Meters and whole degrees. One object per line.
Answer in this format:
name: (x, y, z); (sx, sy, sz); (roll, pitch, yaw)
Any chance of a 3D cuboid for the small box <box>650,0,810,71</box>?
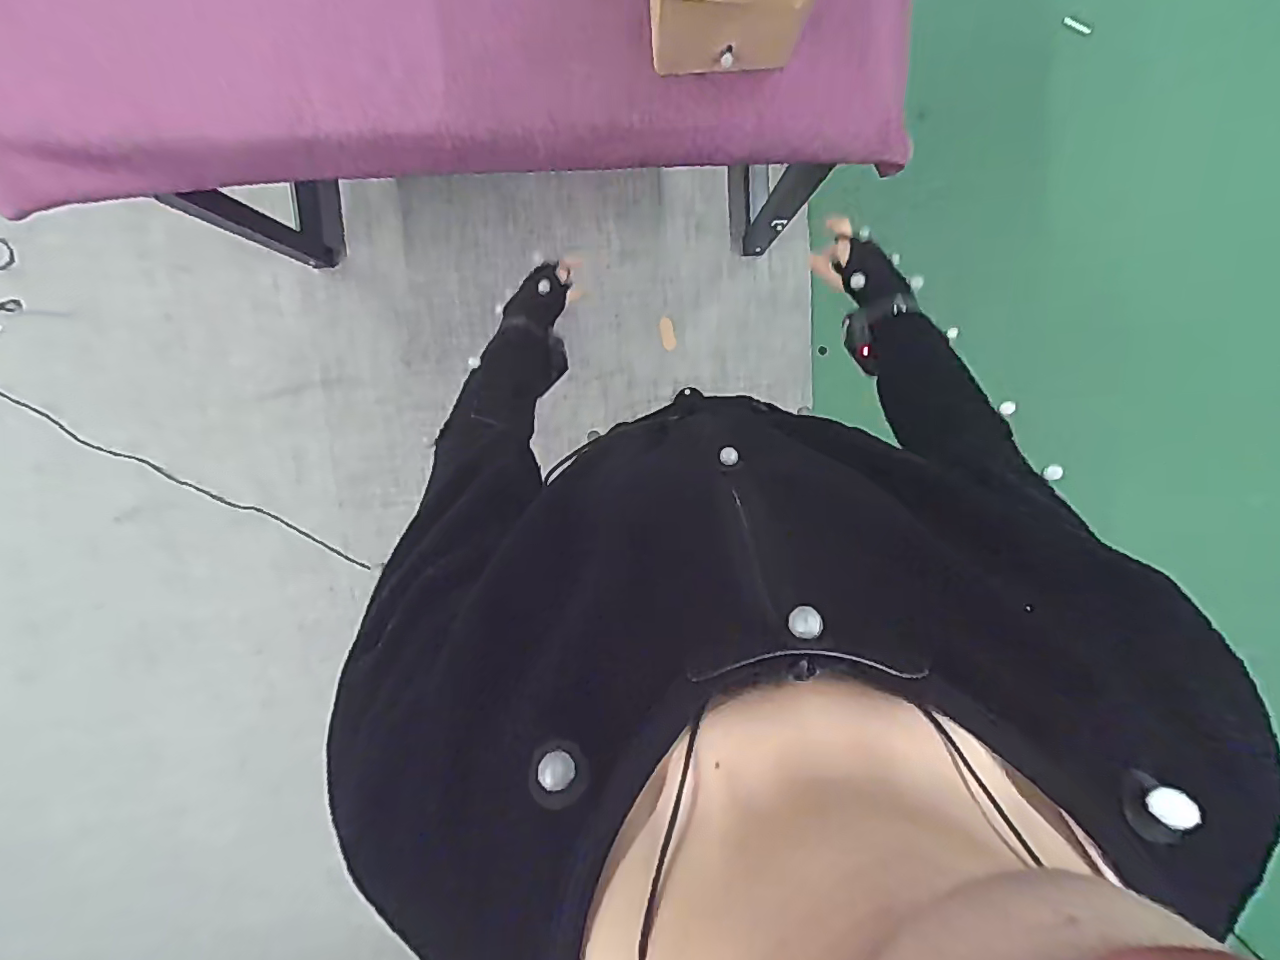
small box: (0.100, -0.599, 0.605); (0.179, 0.176, 0.168); (-3, 96, 1)
